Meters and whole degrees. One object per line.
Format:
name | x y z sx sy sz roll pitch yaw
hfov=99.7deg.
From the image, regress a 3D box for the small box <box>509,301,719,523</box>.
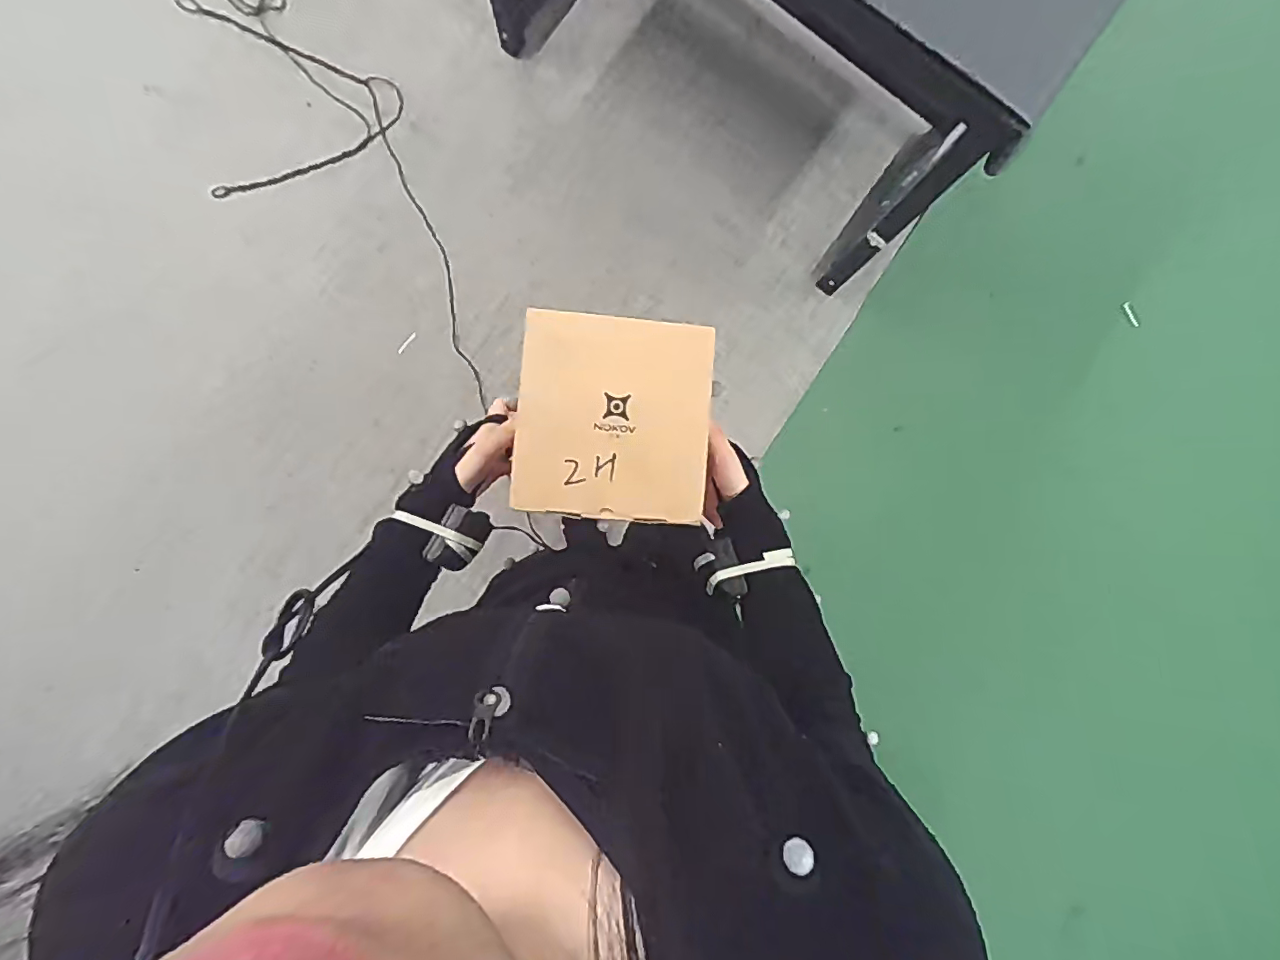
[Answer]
small box | -0.026 -0.053 0.532 0.168 0.176 0.179 5 87 -4
